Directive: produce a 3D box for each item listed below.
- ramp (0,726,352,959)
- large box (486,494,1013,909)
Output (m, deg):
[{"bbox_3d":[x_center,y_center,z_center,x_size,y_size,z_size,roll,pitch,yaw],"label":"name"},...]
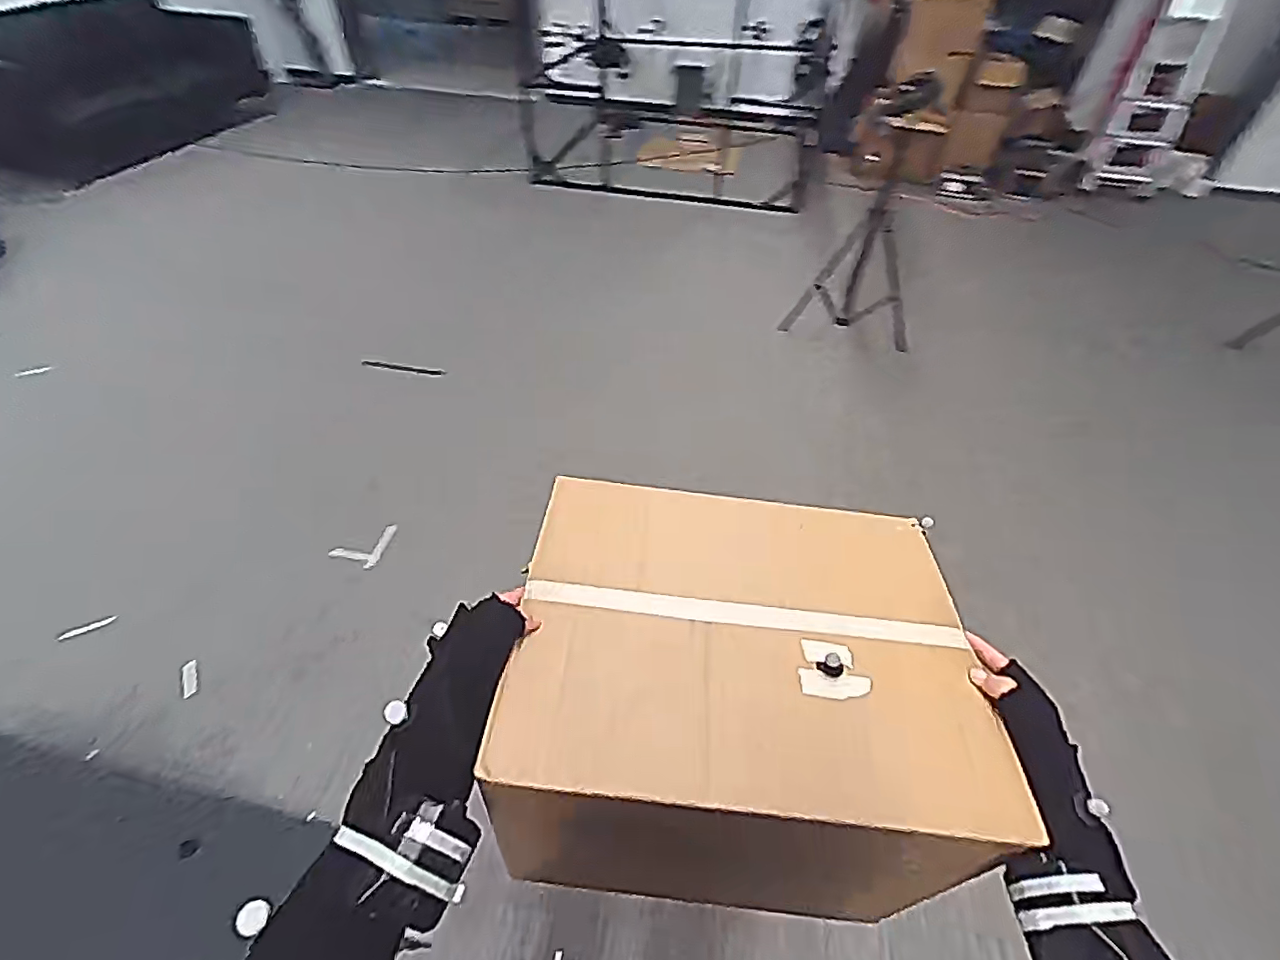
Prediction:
[{"bbox_3d":[-1.185,0.842,1.091,0.991,0.206,0.509,9,46,5],"label":"ramp"},{"bbox_3d":[0.075,0.245,0.604,0.408,0.320,0.320,6,43,-1],"label":"large box"}]
